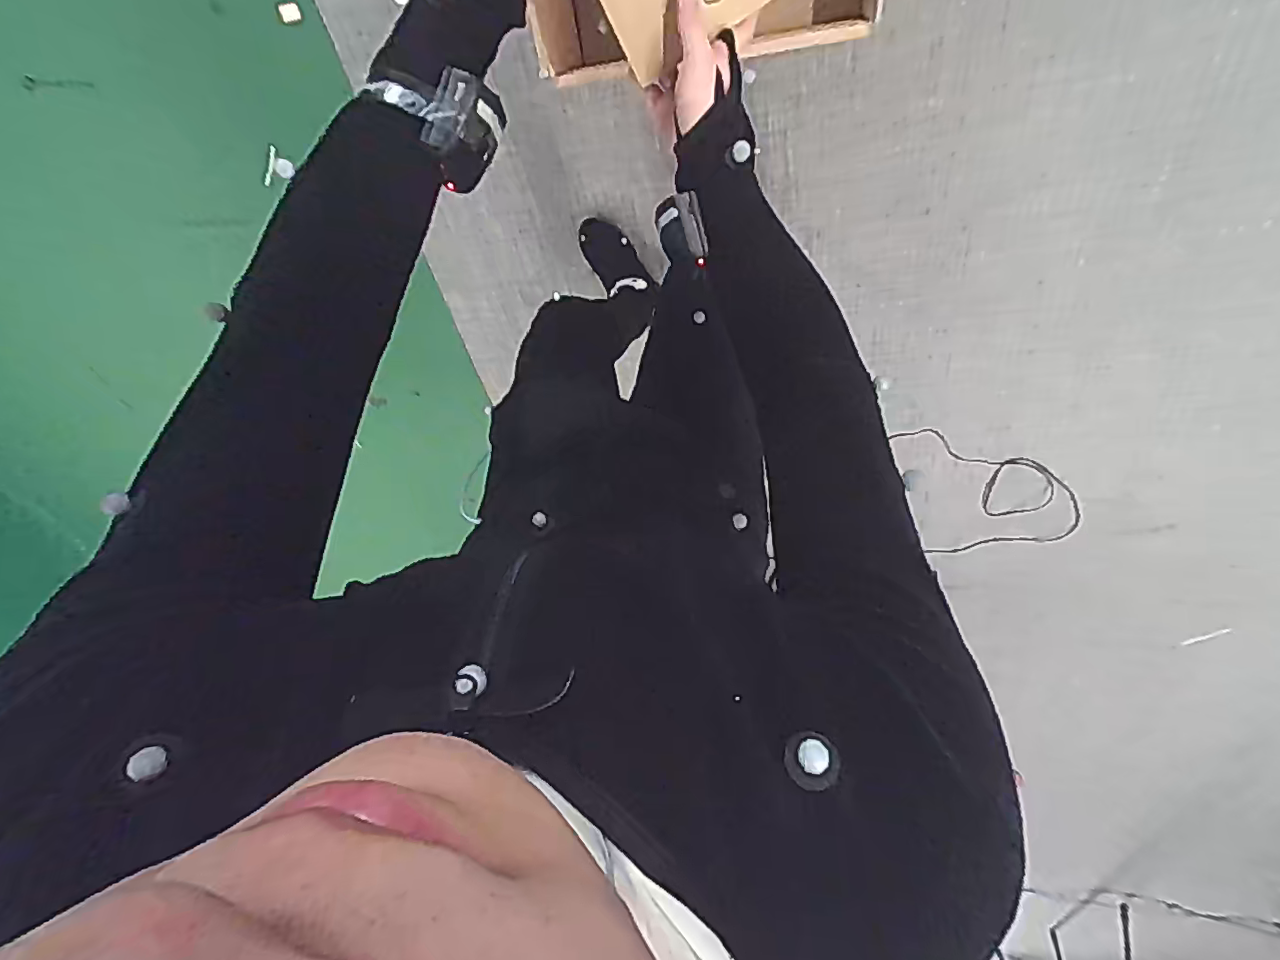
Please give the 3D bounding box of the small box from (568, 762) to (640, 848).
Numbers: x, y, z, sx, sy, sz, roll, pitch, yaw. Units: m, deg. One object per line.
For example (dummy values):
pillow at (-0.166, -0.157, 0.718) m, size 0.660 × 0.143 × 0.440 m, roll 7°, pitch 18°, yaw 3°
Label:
small box at (-0.105, 0.999, 1.672) m, size 0.179 × 0.176 × 0.168 m, roll 6°, pitch 132°, yaw 11°
